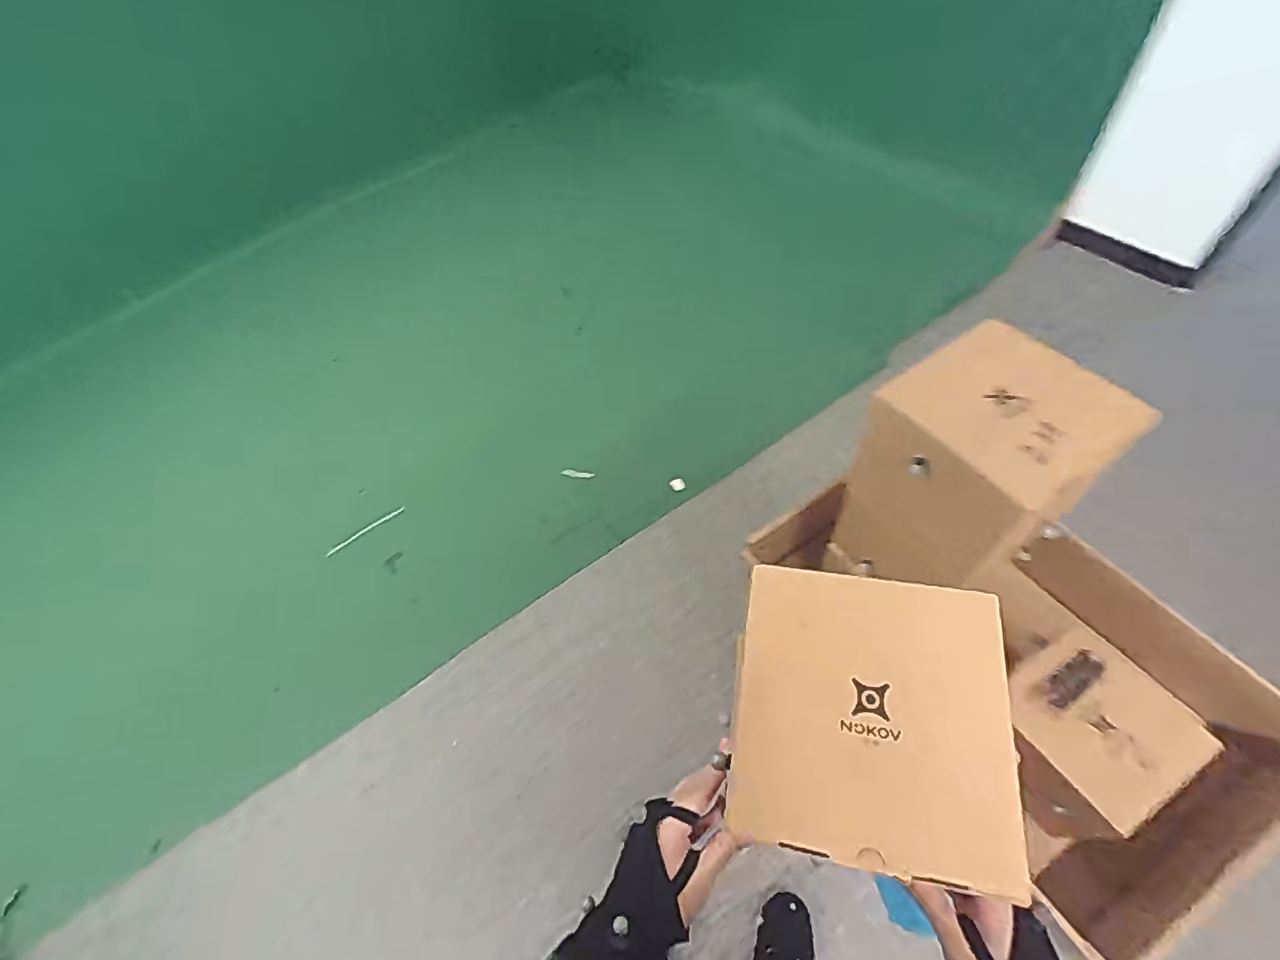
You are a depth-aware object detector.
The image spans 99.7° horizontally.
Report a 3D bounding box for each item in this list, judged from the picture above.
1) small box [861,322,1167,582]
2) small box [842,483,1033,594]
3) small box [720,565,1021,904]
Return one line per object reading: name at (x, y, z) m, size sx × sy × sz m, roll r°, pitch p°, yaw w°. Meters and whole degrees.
small box at (0.363, -0.025, 0.570) m, size 0.168 × 0.176 × 0.179 m, roll -31°, pitch 56°, yaw -10°
small box at (0.393, 0.061, 0.707) m, size 0.179 × 0.176 × 0.168 m, roll -32°, pitch 58°, yaw -10°
small box at (0.151, 0.183, 0.414) m, size 0.168 × 0.176 × 0.179 m, roll 5°, pitch 63°, yaw 12°
